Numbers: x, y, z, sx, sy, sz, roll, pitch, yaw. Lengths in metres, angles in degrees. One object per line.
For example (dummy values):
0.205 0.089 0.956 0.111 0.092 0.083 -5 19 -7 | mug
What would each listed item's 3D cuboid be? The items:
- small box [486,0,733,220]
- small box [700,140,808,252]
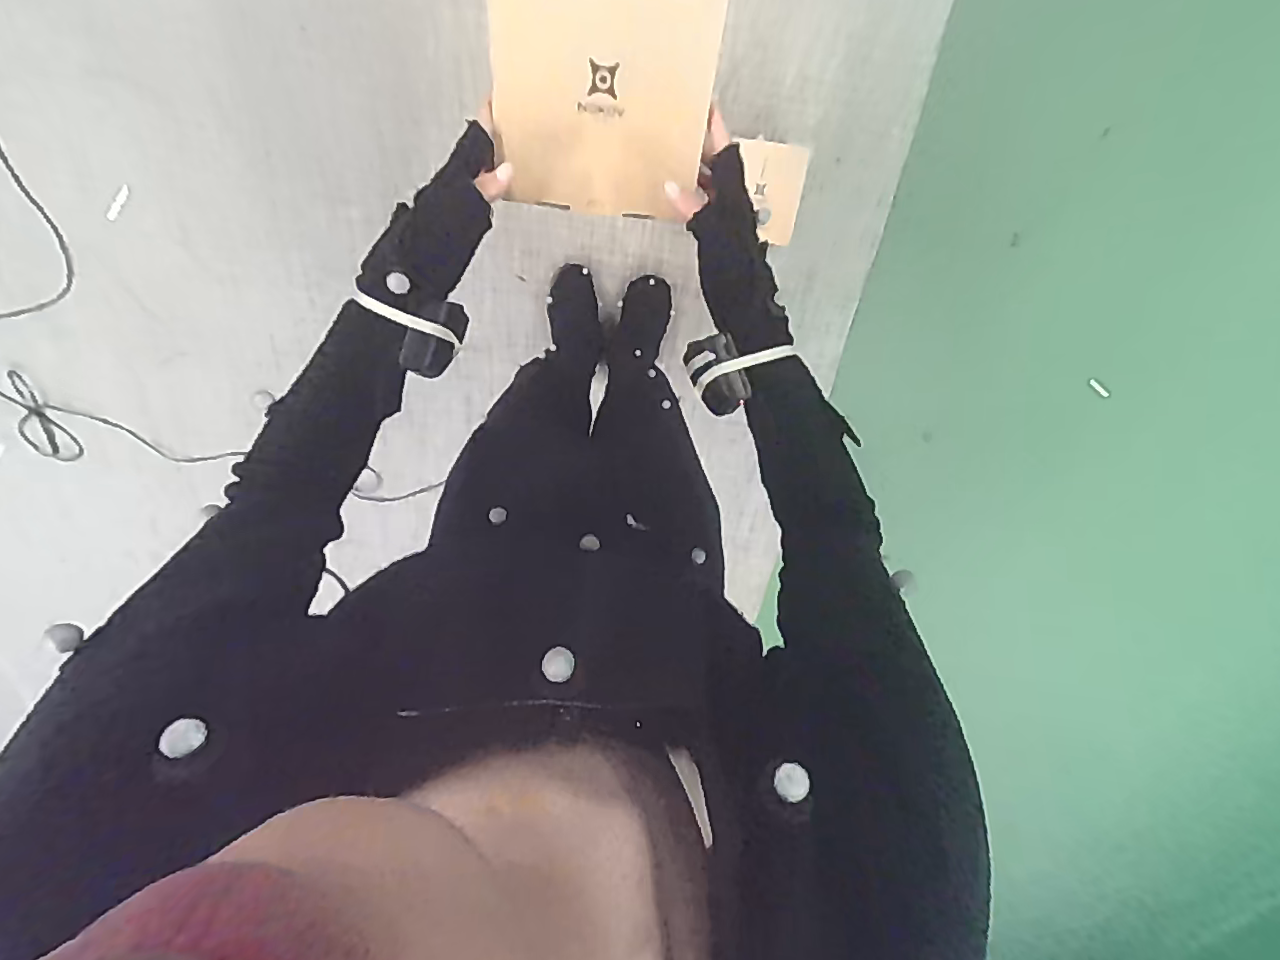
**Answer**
-0.026 -0.341 0.444 0.168 0.176 0.179 5 133 -4 | small box
0.220 -0.577 1.101 0.168 0.176 0.179 5 119 -4 | small box
